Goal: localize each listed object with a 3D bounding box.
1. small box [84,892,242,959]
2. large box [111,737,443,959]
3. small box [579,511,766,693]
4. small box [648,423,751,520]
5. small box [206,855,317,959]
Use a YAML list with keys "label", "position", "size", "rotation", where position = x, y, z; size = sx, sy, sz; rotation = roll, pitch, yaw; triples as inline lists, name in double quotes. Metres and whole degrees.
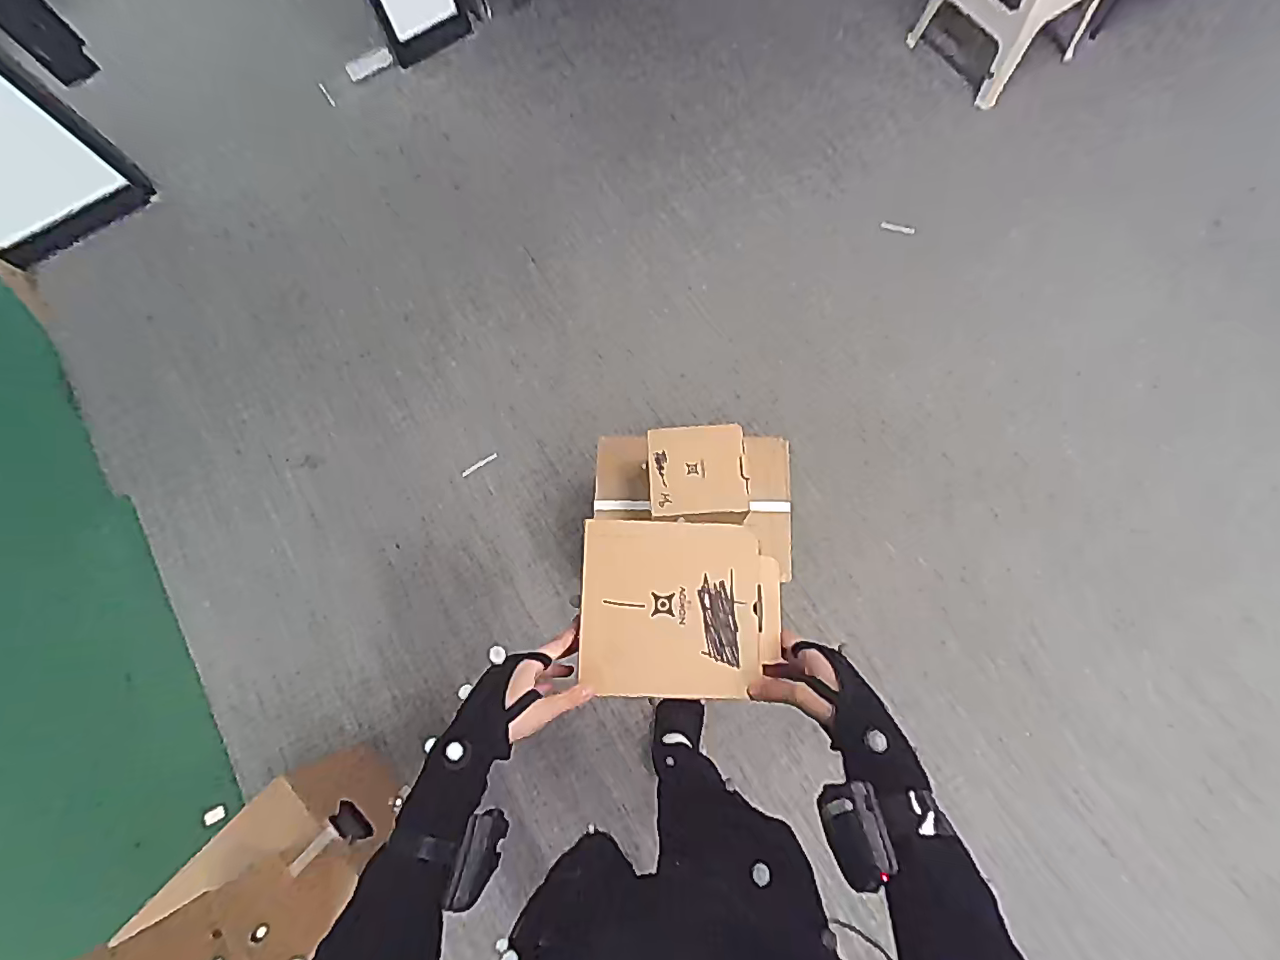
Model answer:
- label: "small box"
  position: [-0.675, 0.707, 0.710]
  size: [0.179, 0.176, 0.168]
  rotation: [-39, 77, -9]
- label: "large box"
  position: [-0.697, 0.819, 1.104]
  size: [0.320, 0.320, 0.408]
  rotation: [42, 82, 13]
- label: "small box"
  position: [0.027, 0.133, 0.593]
  size: [0.179, 0.176, 0.168]
  rotation: [3, 75, -3]
- label: "small box"
  position: [0.105, 0.000, 1.036]
  size: [0.179, 0.176, 0.168]
  rotation: [-2, 73, 1]
- label: "small box"
  position: [-0.666, 0.757, 0.865]
  size: [0.168, 0.176, 0.179]
  rotation: [-40, 77, -9]
